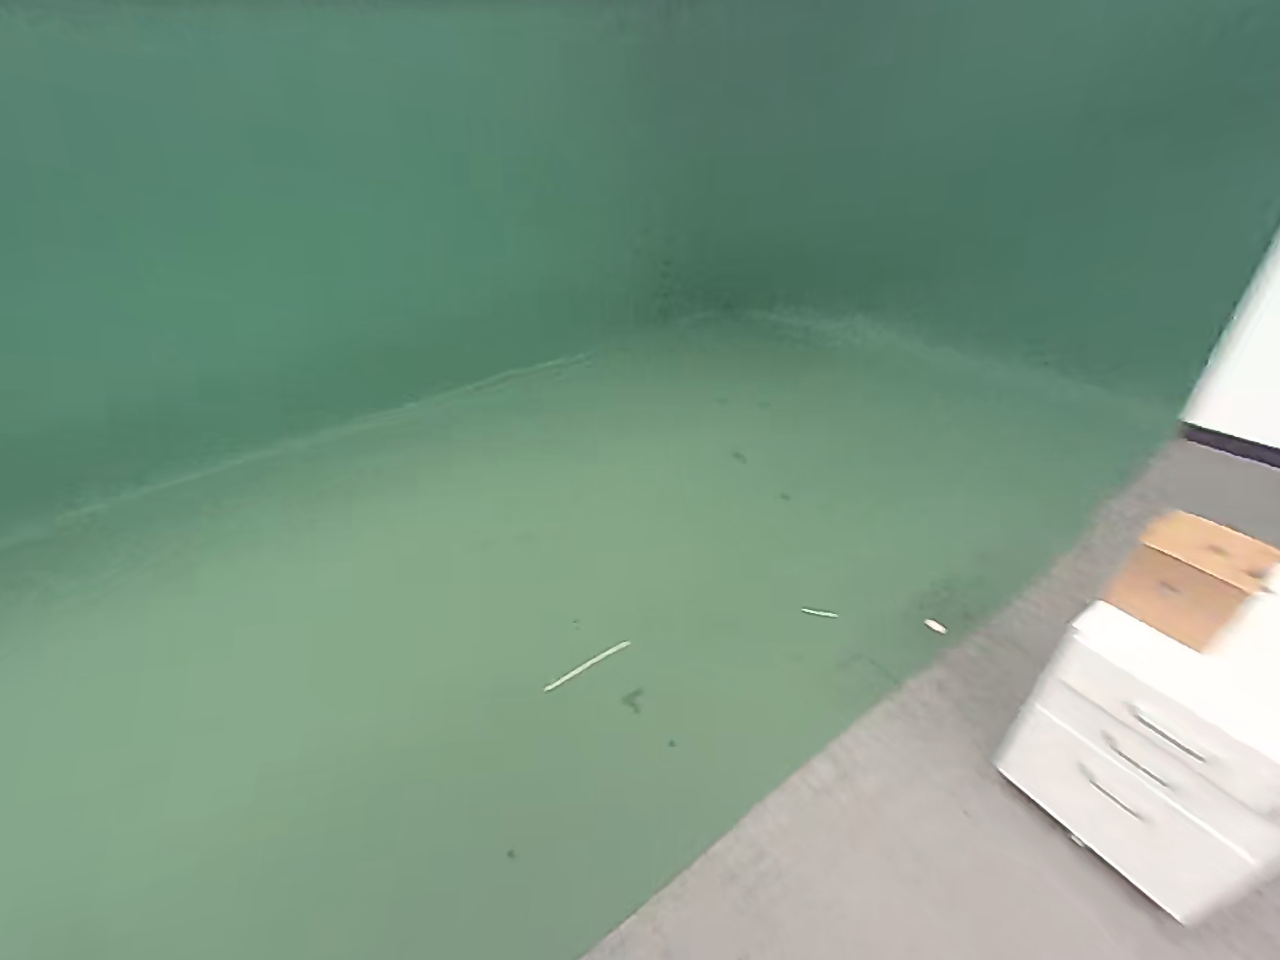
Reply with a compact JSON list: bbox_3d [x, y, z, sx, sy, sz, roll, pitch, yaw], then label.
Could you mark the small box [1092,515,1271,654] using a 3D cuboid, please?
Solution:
[{"bbox_3d":[1.049,0.203,1.064,0.168,0.176,0.179,-24,39,-24],"label":"small box"}]
